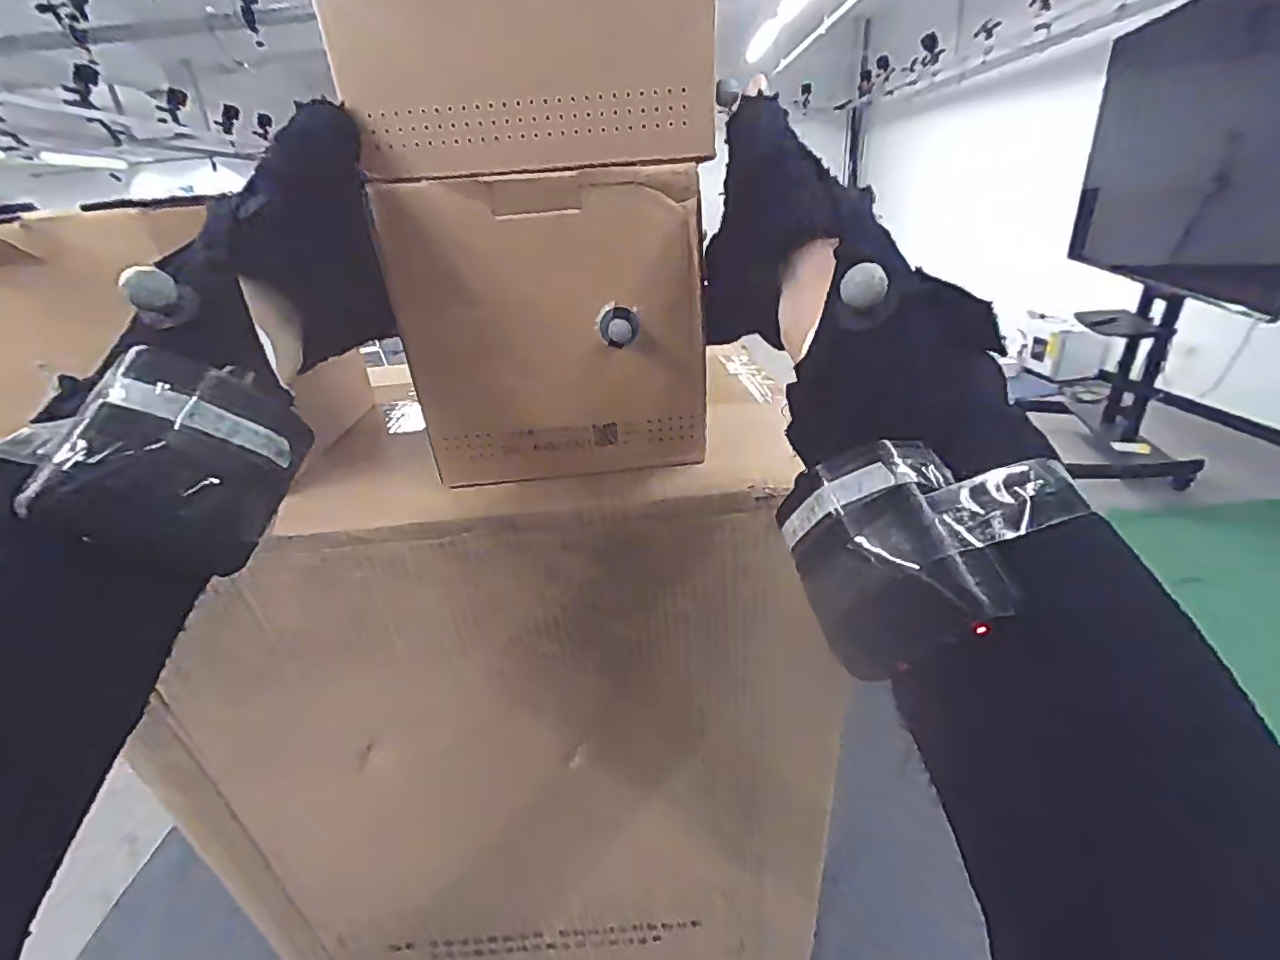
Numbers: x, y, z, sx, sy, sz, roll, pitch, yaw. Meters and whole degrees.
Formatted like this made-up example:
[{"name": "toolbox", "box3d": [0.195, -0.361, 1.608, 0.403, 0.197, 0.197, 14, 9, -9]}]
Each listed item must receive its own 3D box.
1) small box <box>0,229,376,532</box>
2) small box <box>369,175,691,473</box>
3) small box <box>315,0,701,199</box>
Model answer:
[{"name": "small box", "box3d": [-0.321, -0.074, 0.393, 0.168, 0.176, 0.179, -8, 28, -2]}, {"name": "small box", "box3d": [-0.055, -0.111, 0.379, 0.168, 0.176, 0.179, -3, 27, -2]}, {"name": "small box", "box3d": [-0.056, -0.241, 0.310, 0.179, 0.176, 0.168, -3, 28, 3]}]
